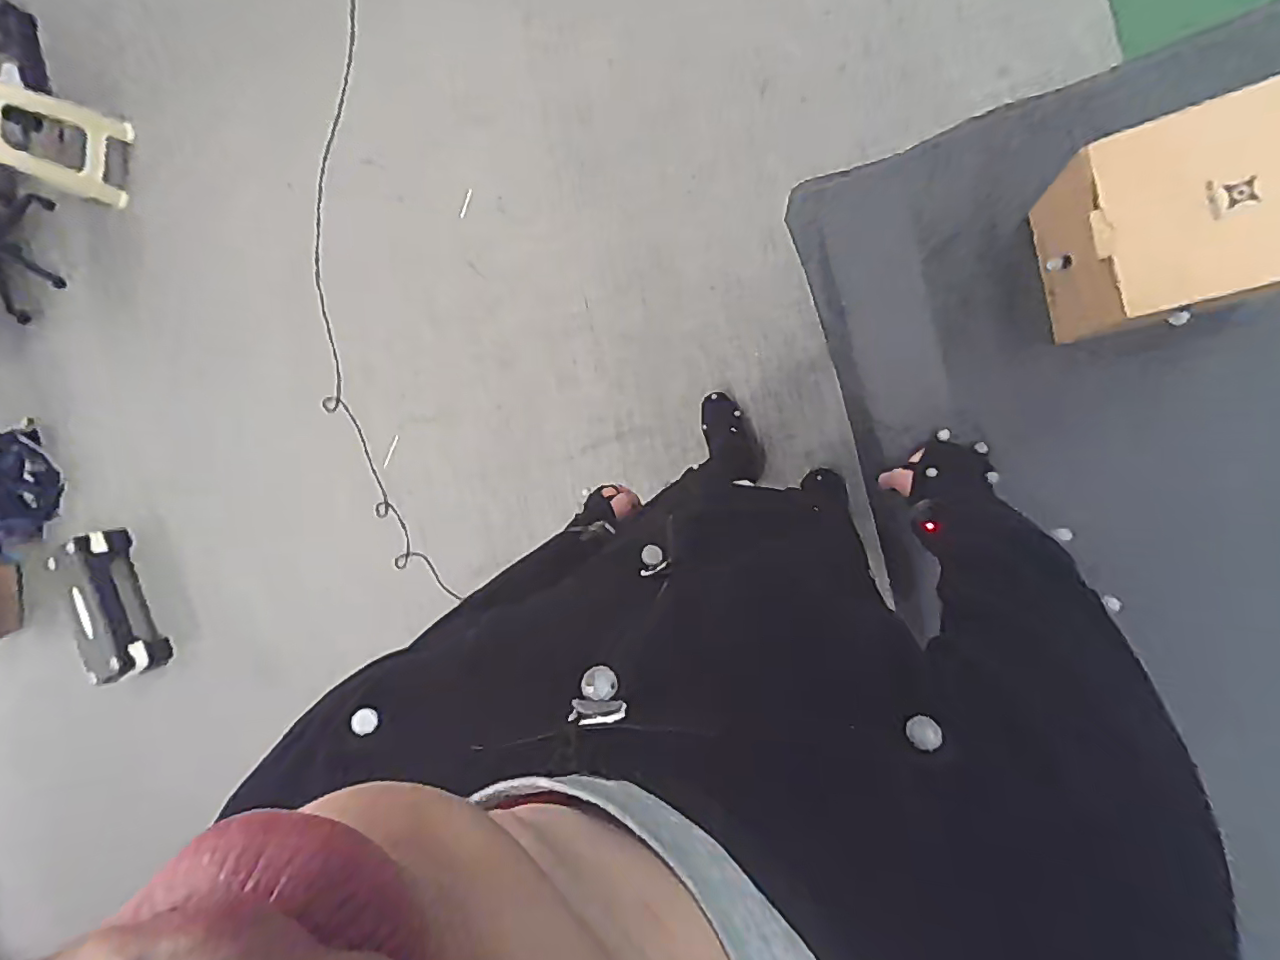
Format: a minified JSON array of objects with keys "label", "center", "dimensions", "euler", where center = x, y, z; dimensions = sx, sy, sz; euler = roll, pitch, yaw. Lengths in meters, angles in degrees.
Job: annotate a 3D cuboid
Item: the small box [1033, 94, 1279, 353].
[{"label":"small box","center":[0.527,-0.237,0.545],"dimensions":[0.179,0.176,0.168],"euler":[-12,90,22]}]
